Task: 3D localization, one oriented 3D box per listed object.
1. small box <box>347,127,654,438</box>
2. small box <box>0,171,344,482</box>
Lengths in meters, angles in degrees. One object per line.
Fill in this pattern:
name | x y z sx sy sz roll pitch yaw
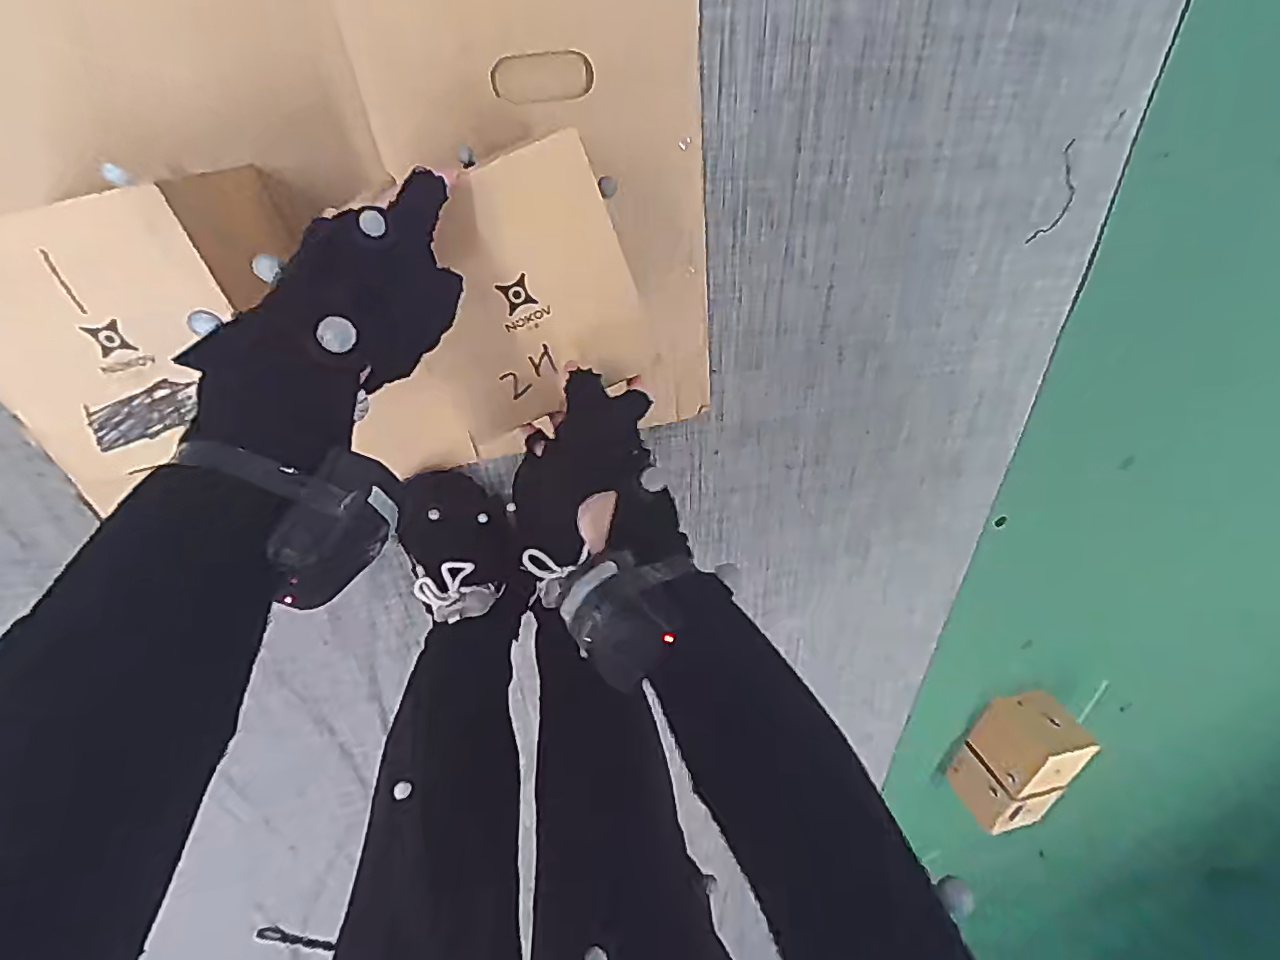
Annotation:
small box | -0.107 -0.171 0.459 0.168 0.176 0.179 -23 125 0
small box | -0.370 -0.130 0.434 0.168 0.176 0.179 -16 125 -5
